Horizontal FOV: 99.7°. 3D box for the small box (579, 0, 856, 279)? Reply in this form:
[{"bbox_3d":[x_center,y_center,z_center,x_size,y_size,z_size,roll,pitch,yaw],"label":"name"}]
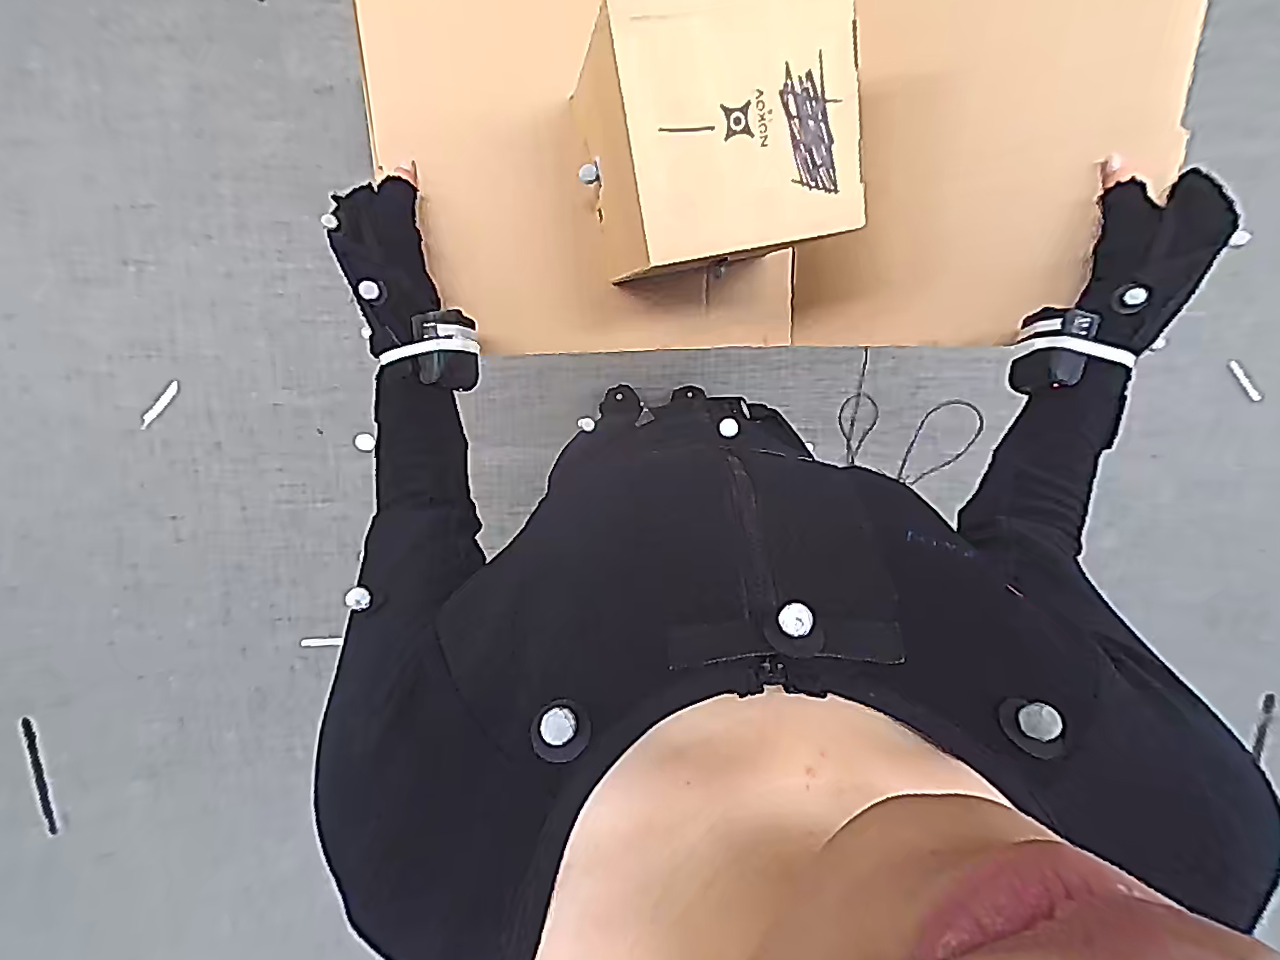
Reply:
[{"bbox_3d":[0.056,-0.274,0.461,0.179,0.176,0.168,-14,108,-9],"label":"small box"}]
